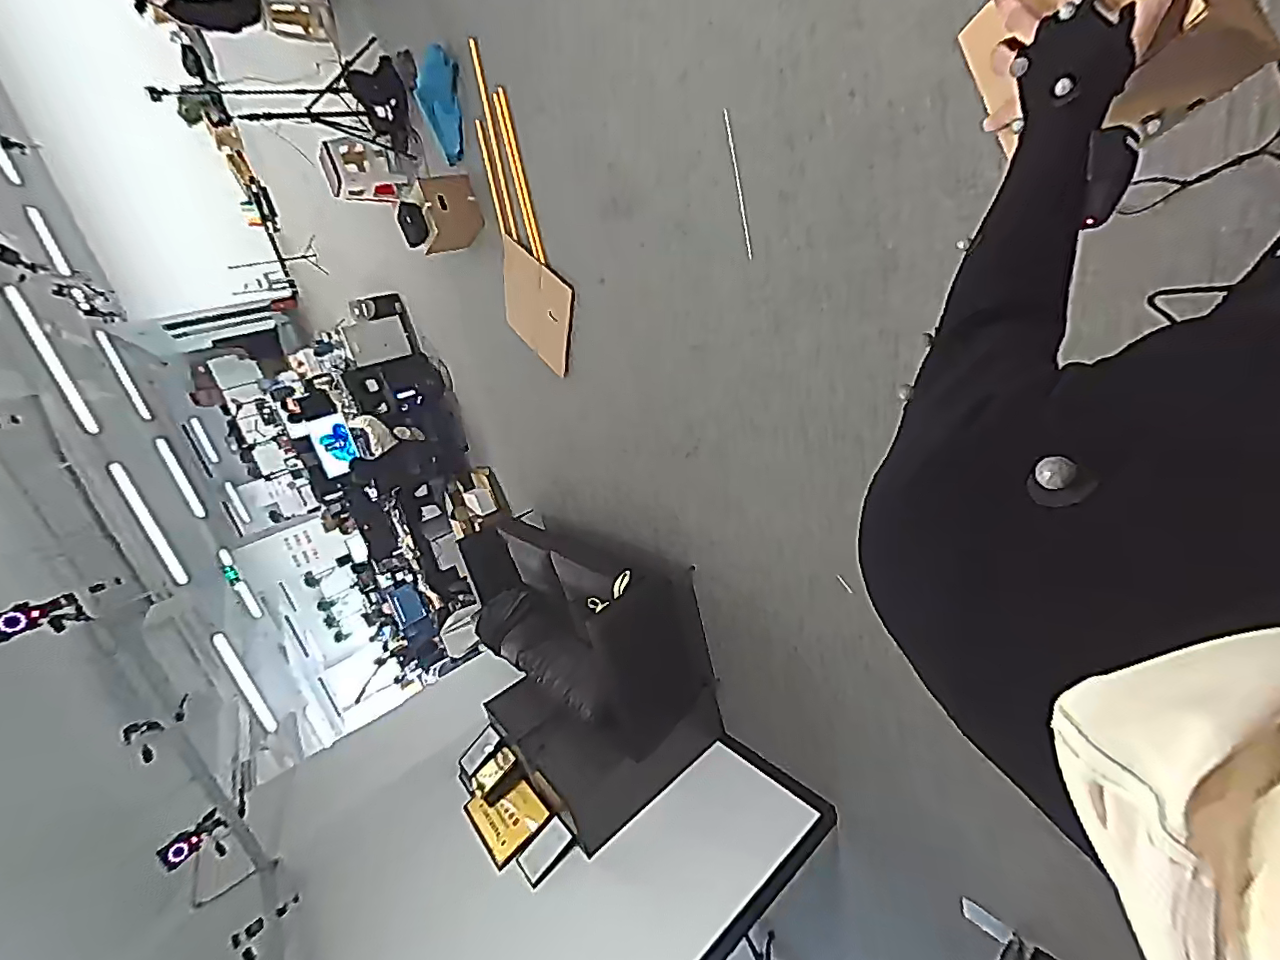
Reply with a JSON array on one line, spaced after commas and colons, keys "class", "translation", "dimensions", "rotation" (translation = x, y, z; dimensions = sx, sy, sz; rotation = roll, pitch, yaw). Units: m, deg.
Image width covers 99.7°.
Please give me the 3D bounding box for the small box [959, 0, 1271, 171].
[{"class": "small box", "translation": [0.486, -0.458, 0.567], "dimensions": [0.168, 0.176, 0.179], "rotation": [-34, 67, 62]}]
